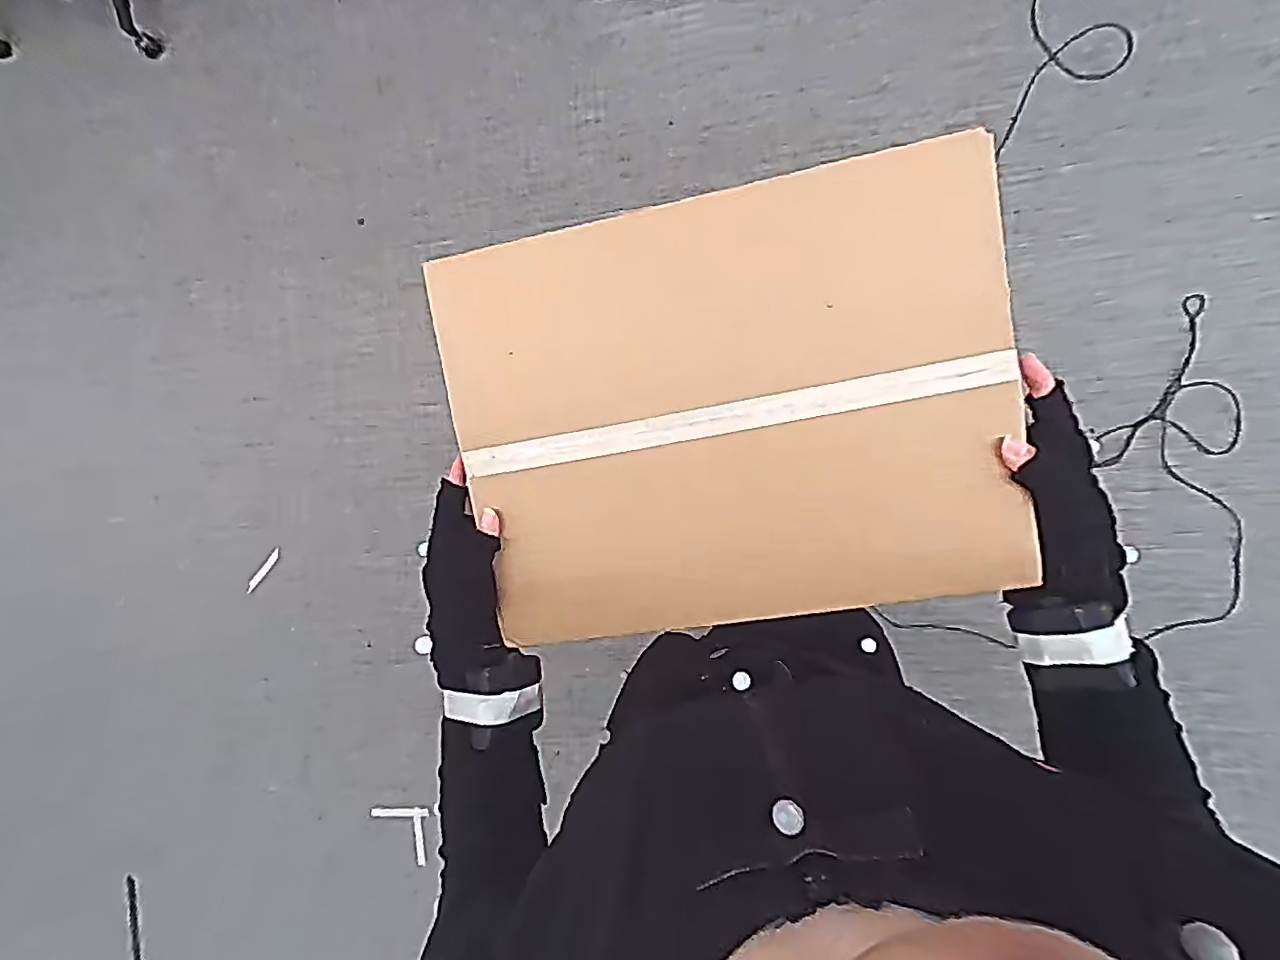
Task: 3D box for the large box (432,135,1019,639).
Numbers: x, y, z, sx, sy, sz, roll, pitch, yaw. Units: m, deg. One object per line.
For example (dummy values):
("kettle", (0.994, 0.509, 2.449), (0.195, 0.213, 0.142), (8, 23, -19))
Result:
("large box", (0.077, -0.069, 0.552), (0.408, 0.320, 0.320), (-10, 95, 9))
